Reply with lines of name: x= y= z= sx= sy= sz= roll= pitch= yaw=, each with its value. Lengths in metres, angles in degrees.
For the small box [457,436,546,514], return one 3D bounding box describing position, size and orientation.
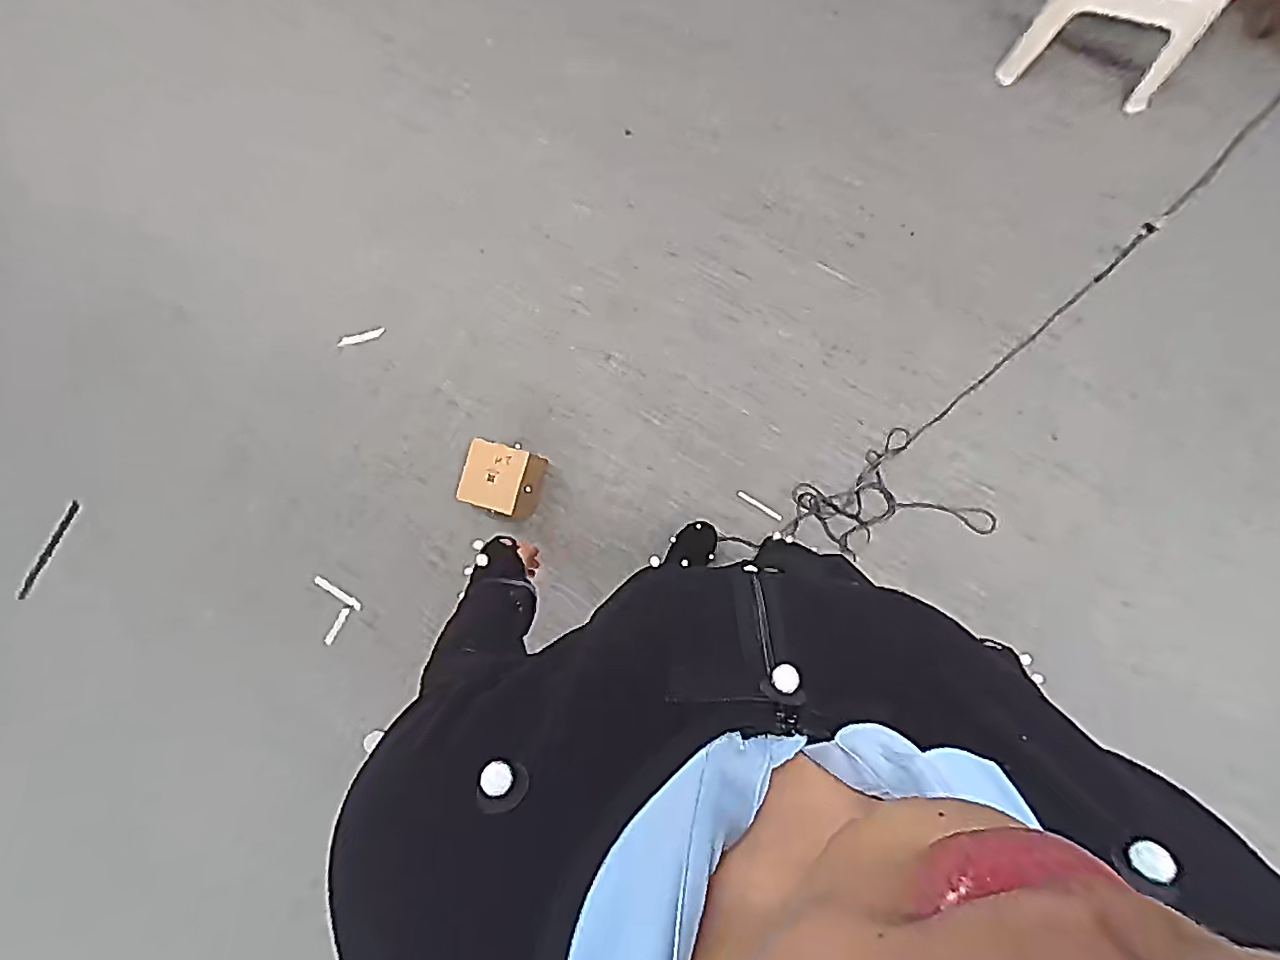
small box: x=-0.377 y=-0.007 z=1.506 sx=0.168 sy=0.176 sz=0.179 roll=16 pitch=87 yaw=8
